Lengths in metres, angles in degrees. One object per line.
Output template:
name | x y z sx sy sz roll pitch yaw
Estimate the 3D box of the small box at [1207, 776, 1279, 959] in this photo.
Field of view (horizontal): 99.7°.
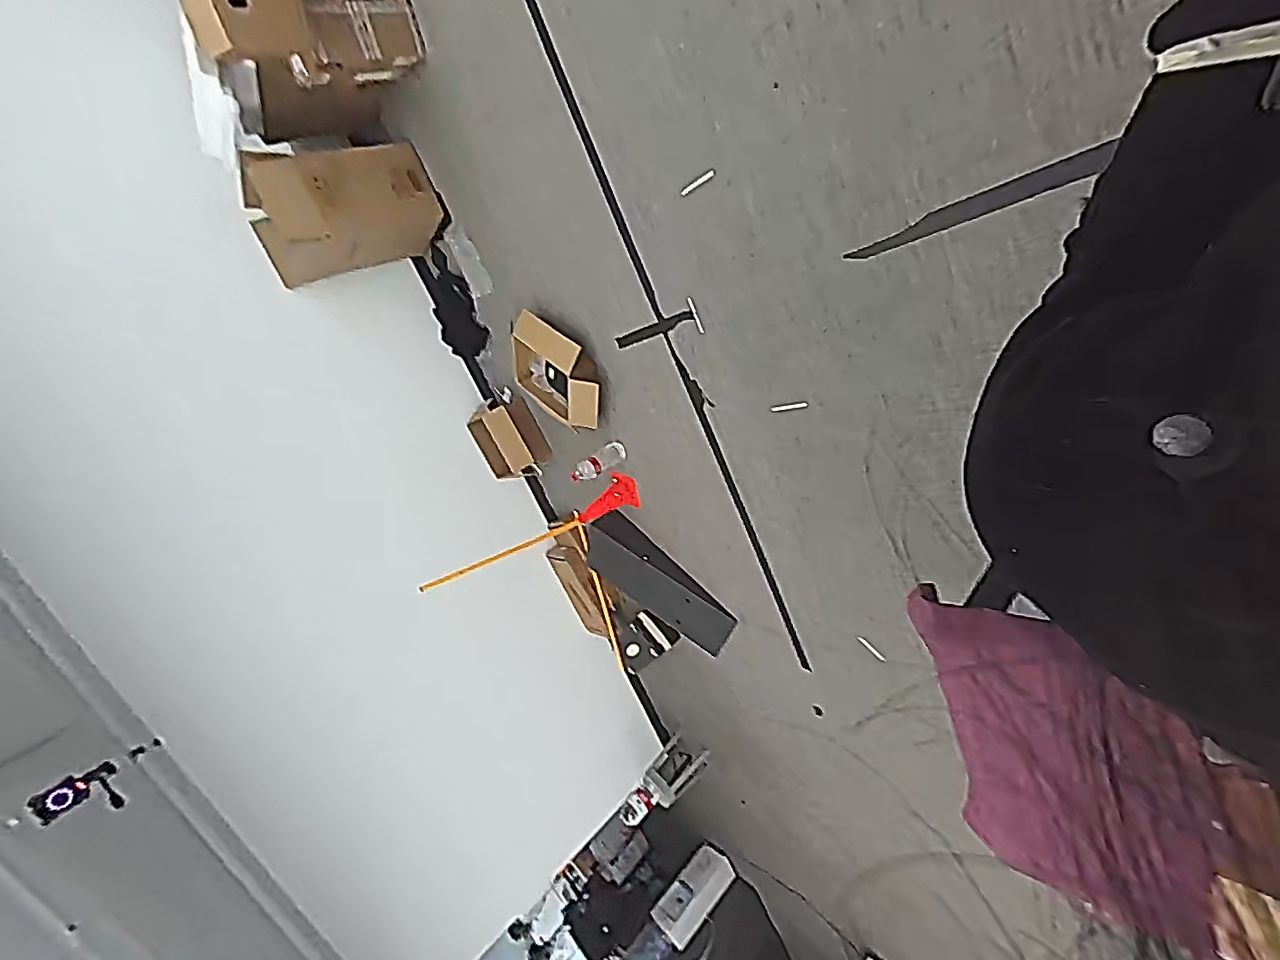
small box | 0.822 0.500 0.648 0.179 0.176 0.168 2 120 54
